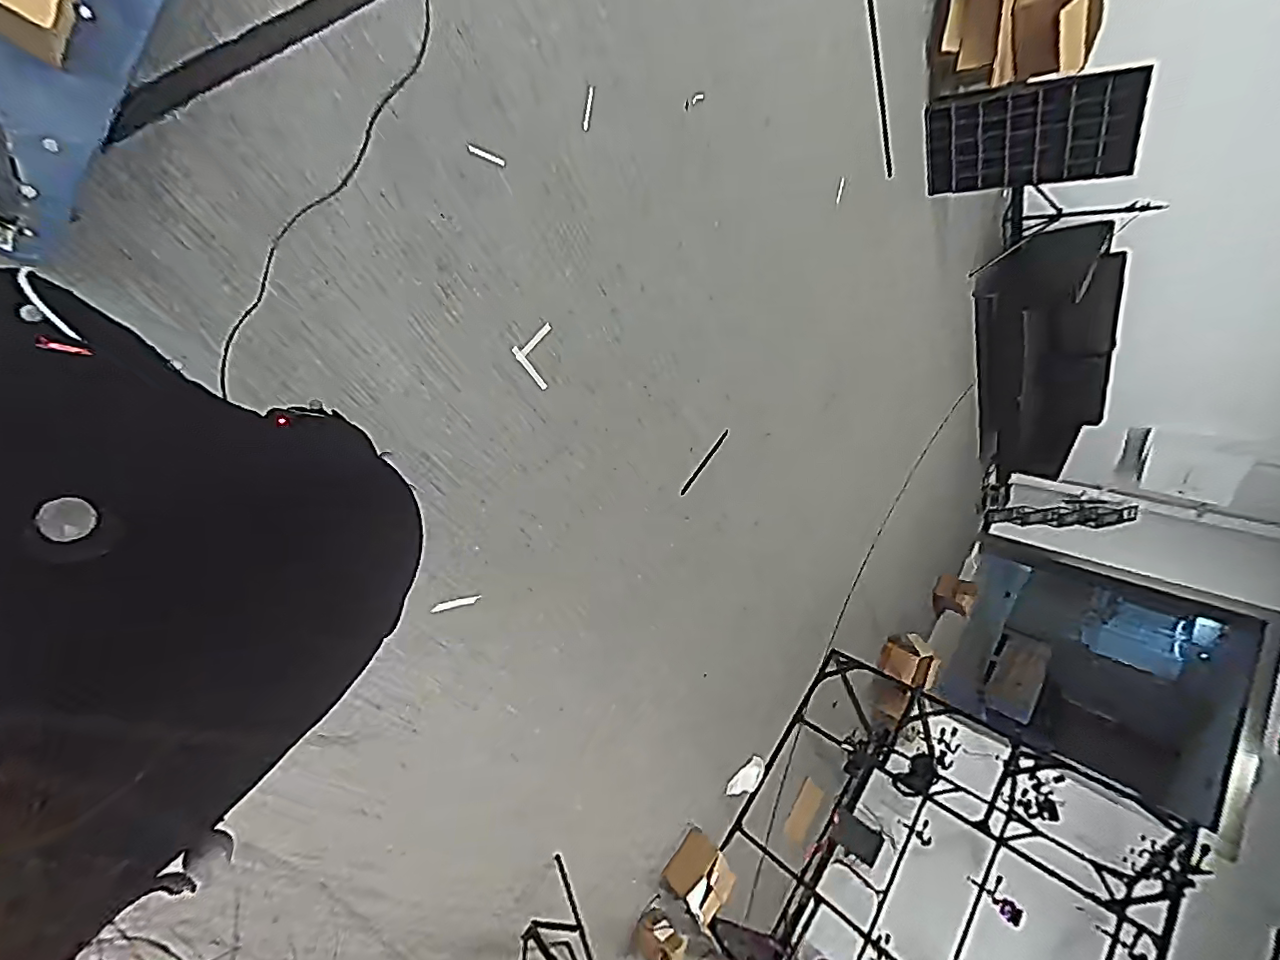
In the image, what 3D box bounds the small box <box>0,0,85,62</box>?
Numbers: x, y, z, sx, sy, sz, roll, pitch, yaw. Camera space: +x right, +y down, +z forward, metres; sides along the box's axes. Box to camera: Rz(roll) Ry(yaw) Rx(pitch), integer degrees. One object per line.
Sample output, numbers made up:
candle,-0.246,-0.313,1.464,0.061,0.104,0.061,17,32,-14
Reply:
small box,-0.849,-0.691,0.693,0.179,0.176,0.168,20,89,-47
